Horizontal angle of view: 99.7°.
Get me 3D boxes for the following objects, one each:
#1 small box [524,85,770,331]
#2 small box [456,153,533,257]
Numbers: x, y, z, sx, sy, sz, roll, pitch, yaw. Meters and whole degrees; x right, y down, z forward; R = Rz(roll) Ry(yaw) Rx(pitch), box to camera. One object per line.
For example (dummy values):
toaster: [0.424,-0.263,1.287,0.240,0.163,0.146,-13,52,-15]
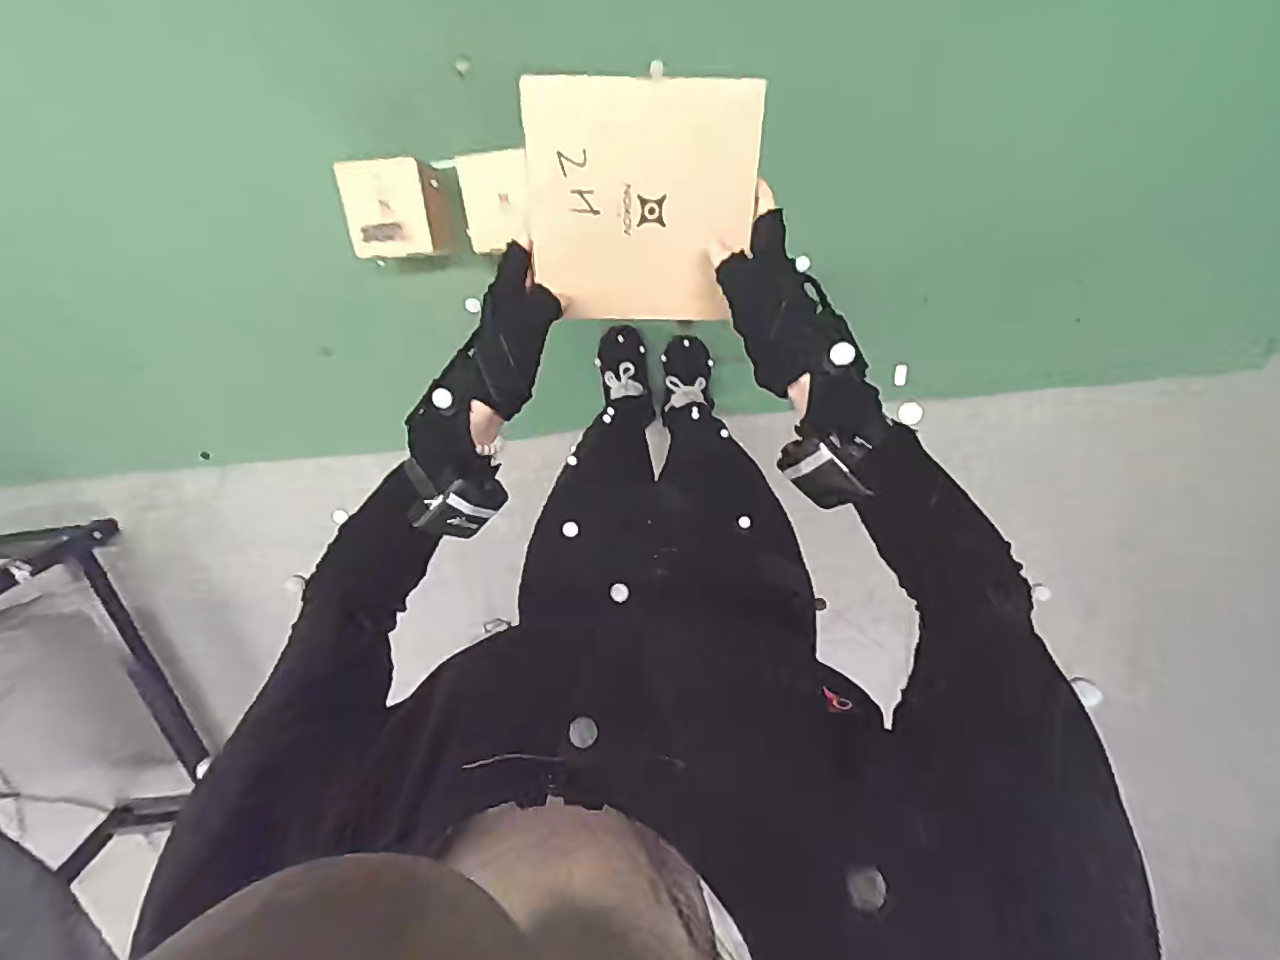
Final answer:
small box: [0.003,-0.238,0.485,0.179,0.176,0.168,2,118,0]
small box: [-0.279,-0.586,1.170,0.168,0.176,0.179,-6,112,2]
